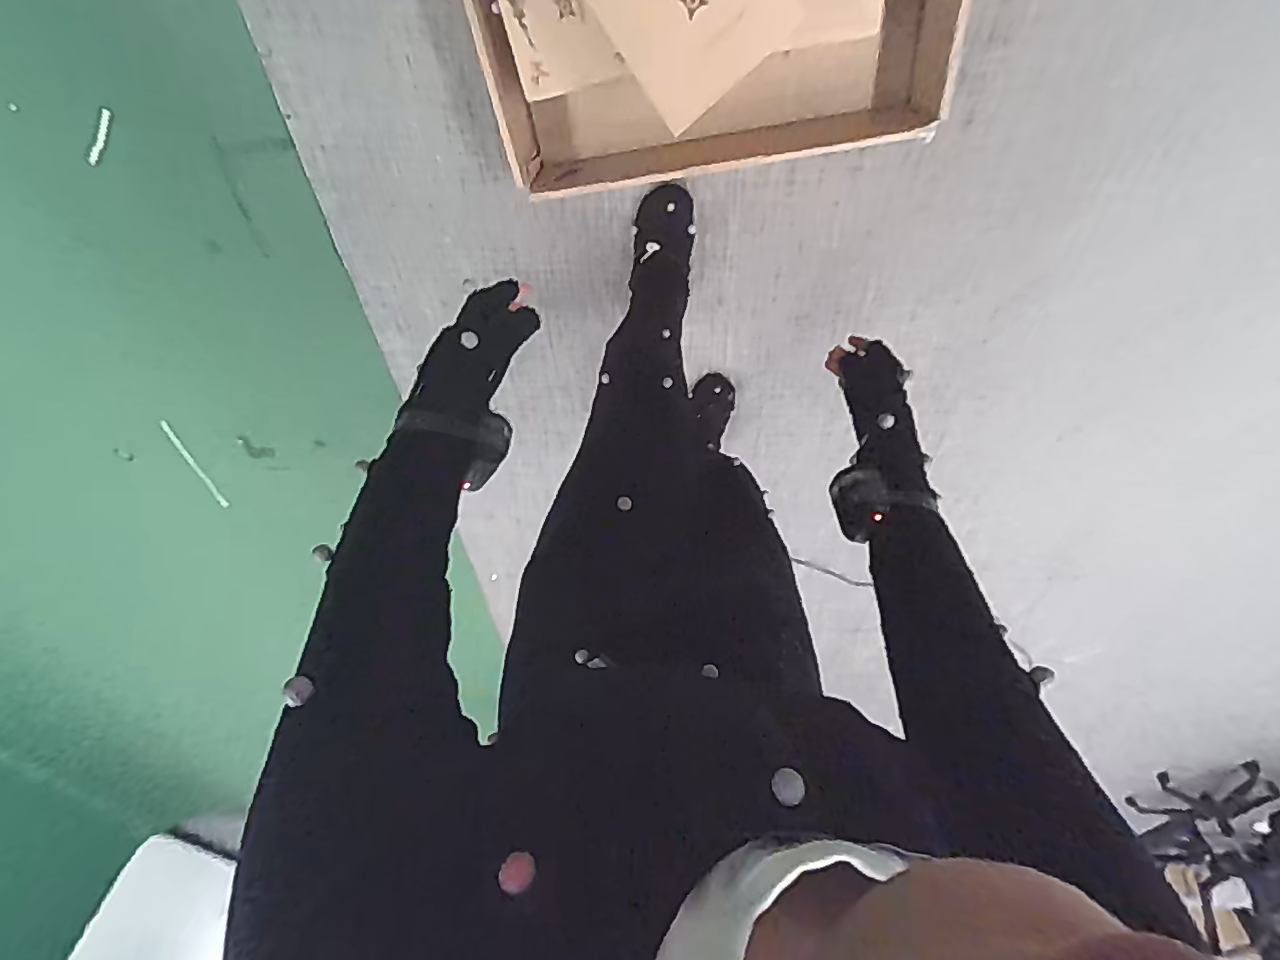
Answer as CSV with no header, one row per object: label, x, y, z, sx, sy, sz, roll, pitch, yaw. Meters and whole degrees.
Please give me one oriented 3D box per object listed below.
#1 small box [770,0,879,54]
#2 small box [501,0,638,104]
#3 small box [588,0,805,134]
small box,0.197,-0.653,0.681,0.179,0.176,0.168,-4,134,7
small box,-0.080,-0.628,0.716,0.179,0.176,0.168,-9,132,8
small box,0.051,-0.527,0.586,0.168,0.176,0.179,-29,128,27
